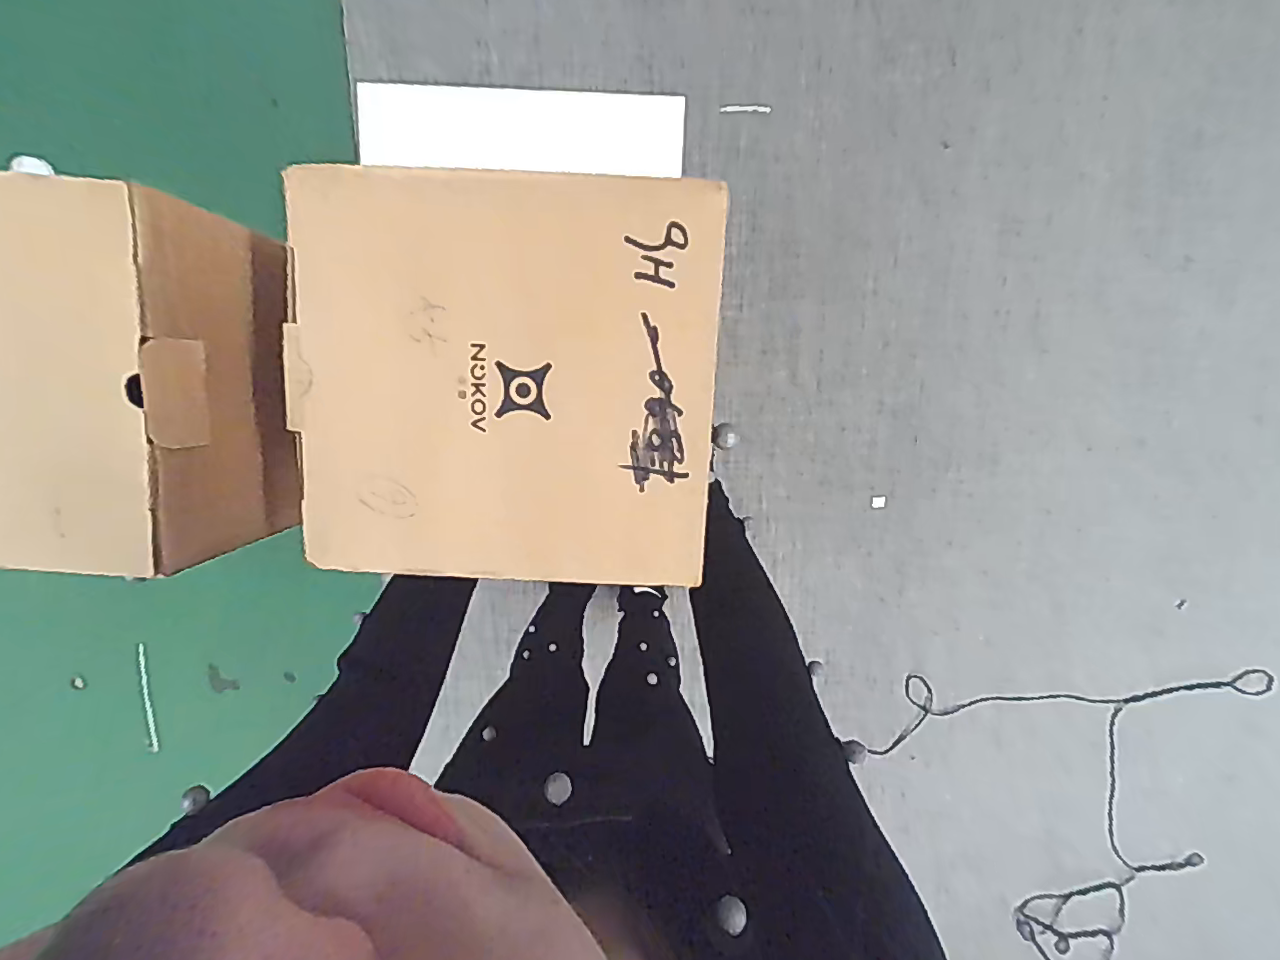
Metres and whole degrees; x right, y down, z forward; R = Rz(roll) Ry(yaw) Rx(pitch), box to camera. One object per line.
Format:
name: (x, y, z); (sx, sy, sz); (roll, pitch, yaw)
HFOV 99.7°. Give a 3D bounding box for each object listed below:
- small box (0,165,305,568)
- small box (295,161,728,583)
small box: (-0.289, -0.059, 0.305); (0.179, 0.176, 0.168); (4, 99, -2)
small box: (-0.054, -0.054, 0.304); (0.179, 0.176, 0.168); (4, 100, 1)
